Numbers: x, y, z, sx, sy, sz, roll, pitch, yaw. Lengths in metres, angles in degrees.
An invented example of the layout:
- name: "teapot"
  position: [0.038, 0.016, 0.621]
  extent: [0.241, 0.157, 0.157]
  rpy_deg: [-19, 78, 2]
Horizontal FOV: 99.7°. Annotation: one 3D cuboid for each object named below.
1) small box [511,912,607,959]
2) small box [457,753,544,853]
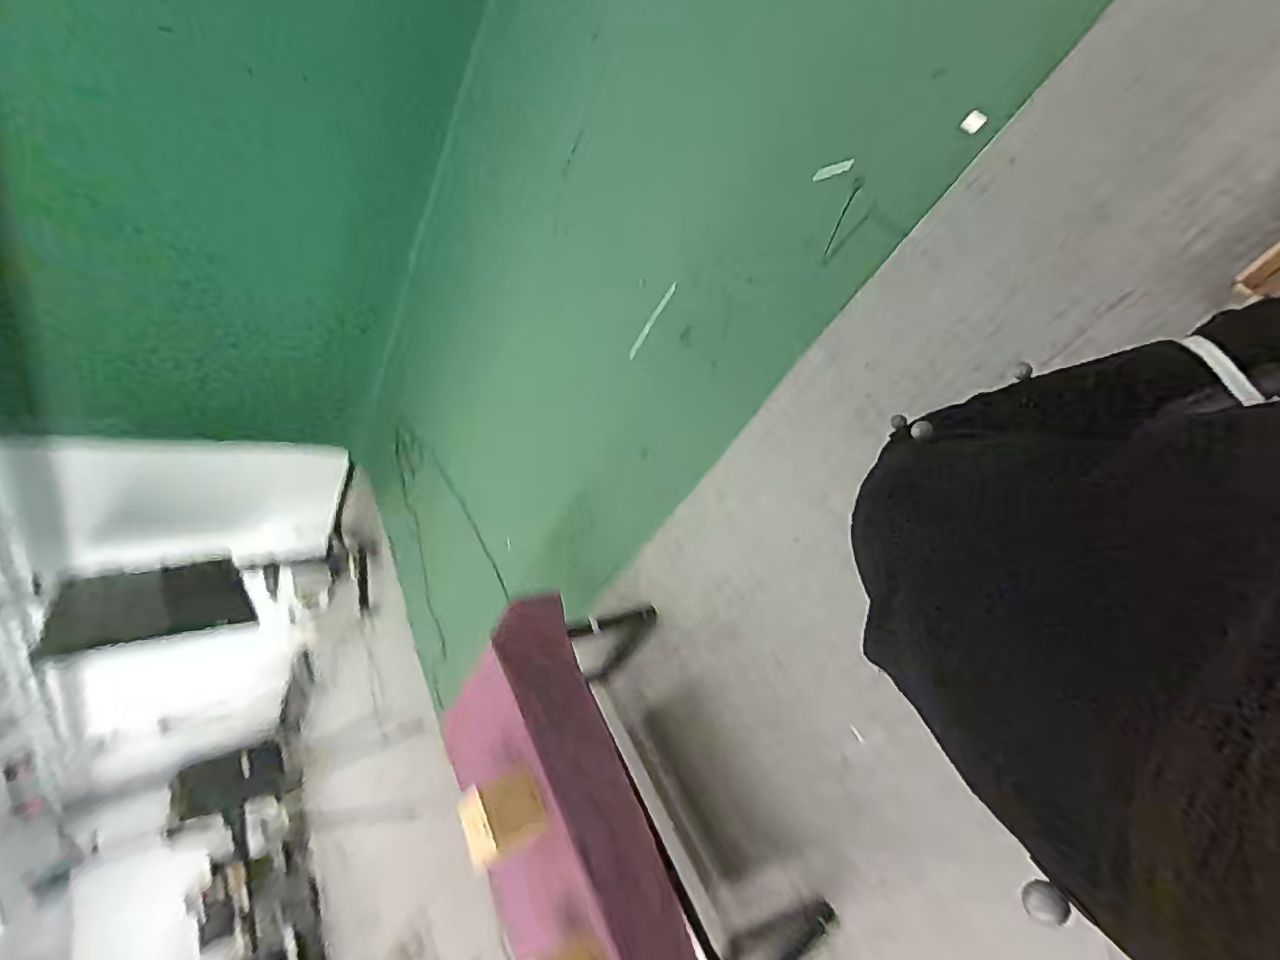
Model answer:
- name: "small box"
  position: [-0.196, 1.228, 1.346]
  extent: [0.179, 0.176, 0.168]
  rpy_deg: [-54, 55, 33]
- name: "small box"
  position: [-0.399, 0.924, 1.555]
  extent: [0.168, 0.176, 0.179]
  rpy_deg: [56, 129, 29]
